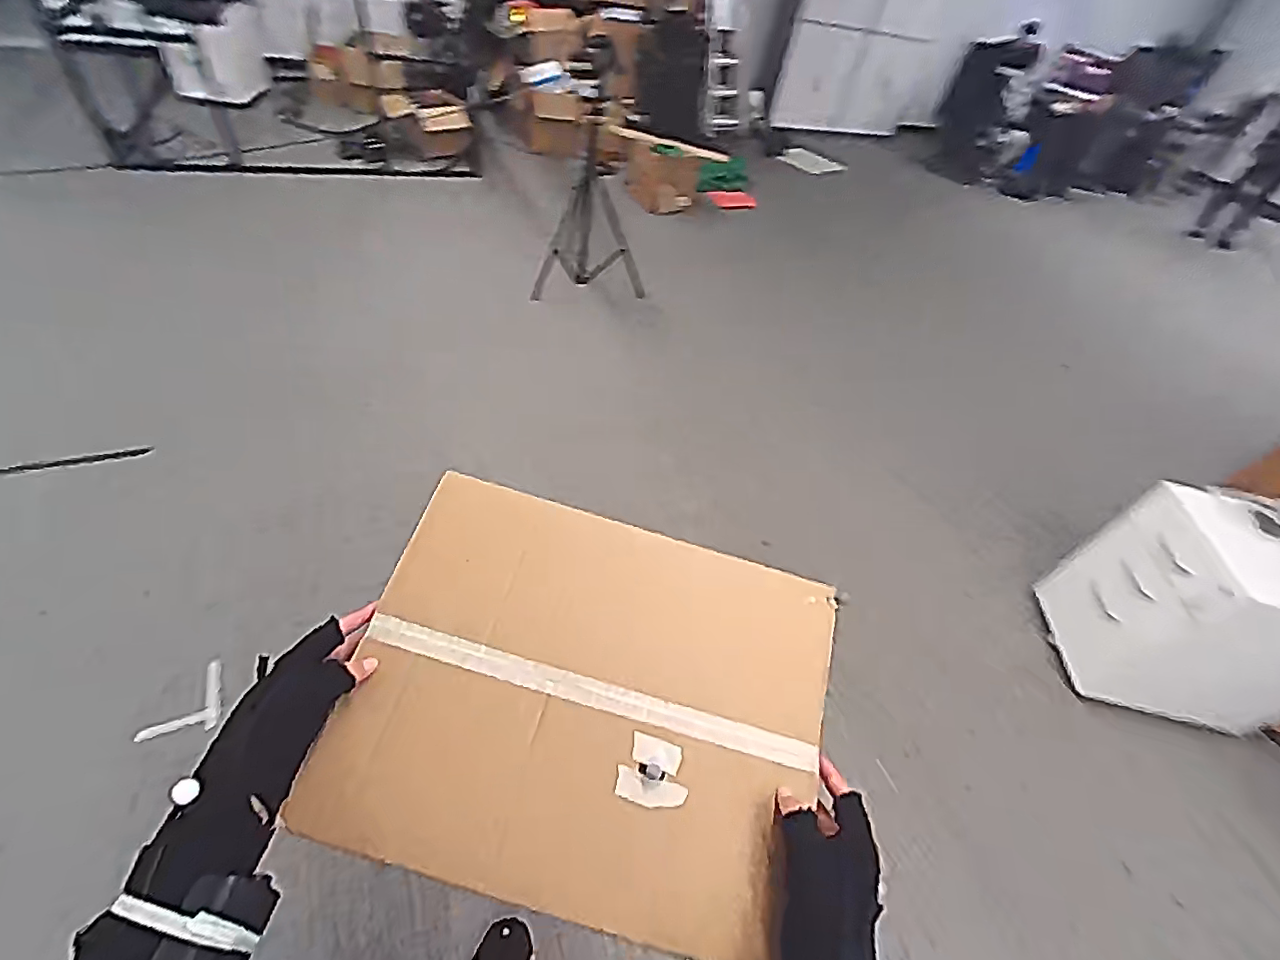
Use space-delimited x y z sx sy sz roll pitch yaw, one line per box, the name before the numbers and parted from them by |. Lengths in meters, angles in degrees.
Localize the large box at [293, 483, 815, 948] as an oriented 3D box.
large box | -0.066 0.247 0.618 0.408 0.320 0.320 16 65 0
